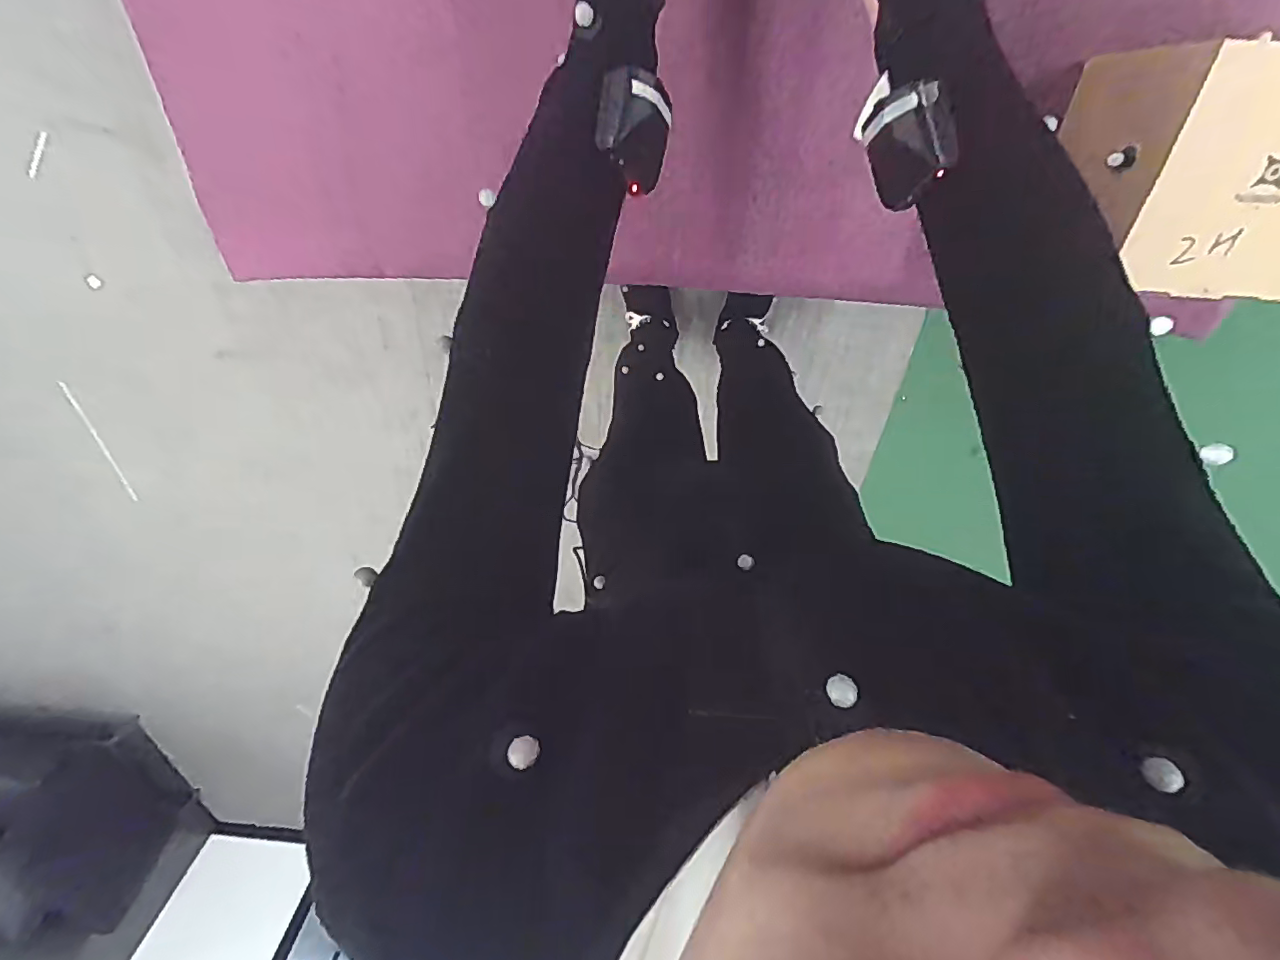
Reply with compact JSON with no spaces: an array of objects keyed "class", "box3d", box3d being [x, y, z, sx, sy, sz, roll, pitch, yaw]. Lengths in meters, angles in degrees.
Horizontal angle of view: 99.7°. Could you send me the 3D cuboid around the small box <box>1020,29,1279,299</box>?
[{"class":"small box","box3d":[0.492,-0.280,0.489,0.168,0.176,0.179,6,125,3]}]
